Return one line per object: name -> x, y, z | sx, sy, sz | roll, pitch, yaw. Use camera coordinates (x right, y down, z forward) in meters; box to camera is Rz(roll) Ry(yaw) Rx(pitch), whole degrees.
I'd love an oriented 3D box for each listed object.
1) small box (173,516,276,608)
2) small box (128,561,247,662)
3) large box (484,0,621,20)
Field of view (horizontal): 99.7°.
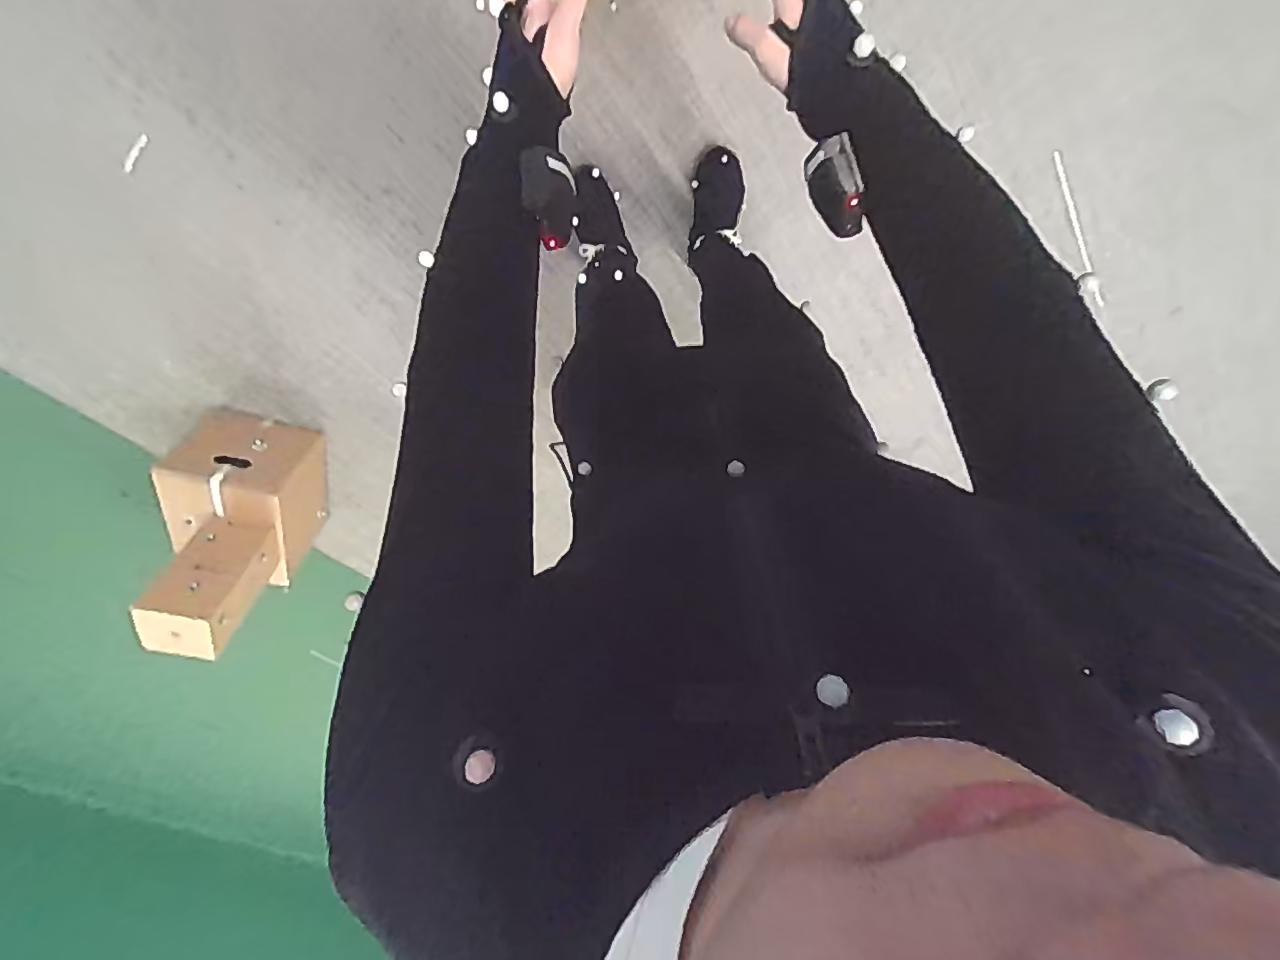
small box -> -1.142, 0.226, 1.502 | 0.168, 0.176, 0.179 | 14, 128, -13
small box -> -1.138, 0.331, 1.376 | 0.168, 0.176, 0.179 | 16, 127, -14
large box -> -0.069, -0.974, 0.867 | 0.408, 0.320, 0.320 | -6, 128, 5
